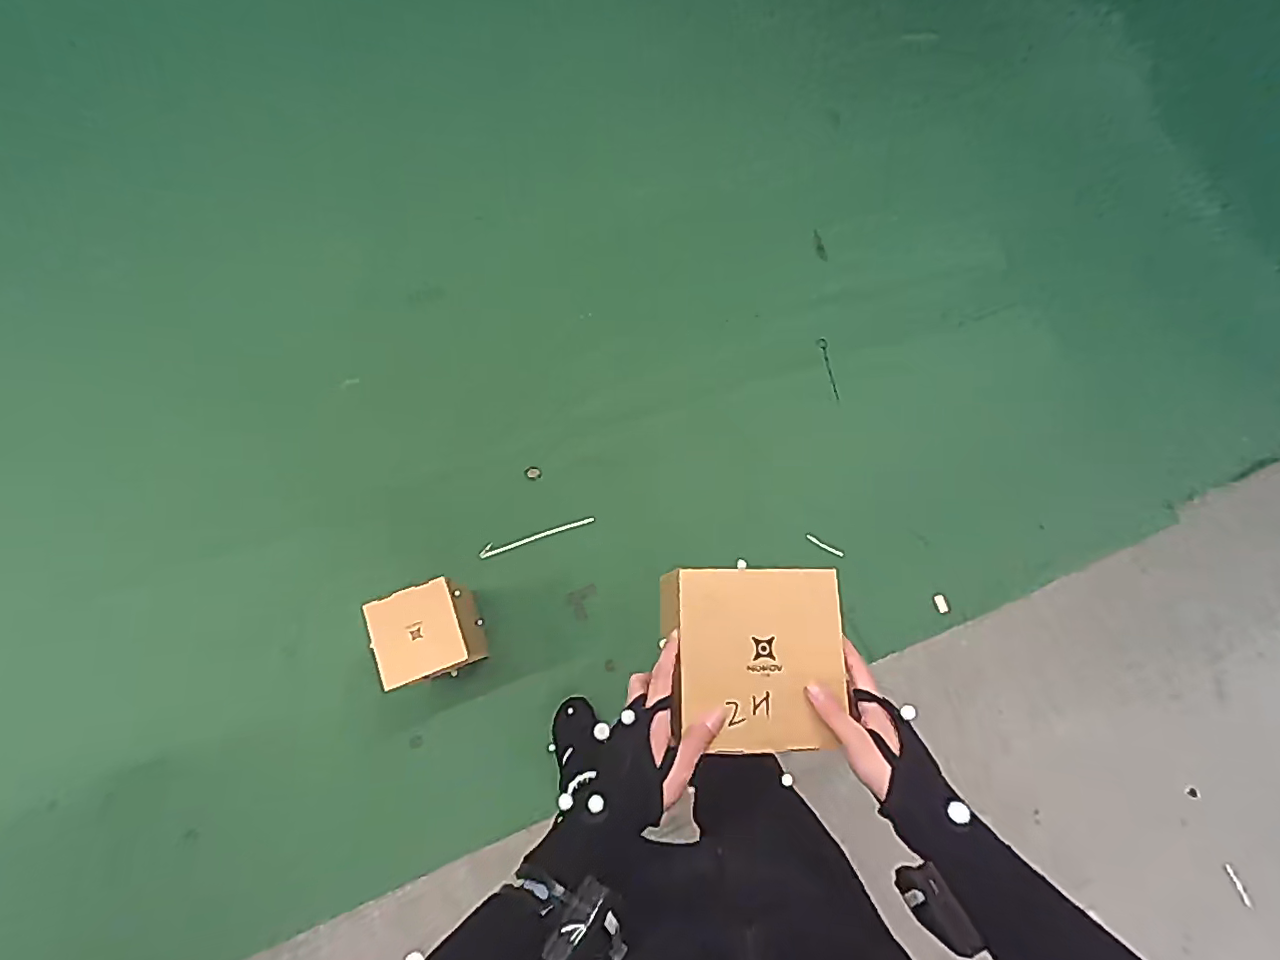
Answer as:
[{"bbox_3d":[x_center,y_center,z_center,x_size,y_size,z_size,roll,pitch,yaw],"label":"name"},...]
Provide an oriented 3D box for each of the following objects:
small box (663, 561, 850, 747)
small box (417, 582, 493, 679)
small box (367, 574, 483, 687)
[{"bbox_3d":[0.116,0.187,0.610,0.168,0.176,0.179,1,77,-4],"label":"small box"},{"bbox_3d":[-0.467,0.361,1.302,0.168,0.176,0.179,-19,78,-11],"label":"small box"},{"bbox_3d":[-0.446,0.316,1.148,0.168,0.176,0.179,-19,76,-11],"label":"small box"}]
